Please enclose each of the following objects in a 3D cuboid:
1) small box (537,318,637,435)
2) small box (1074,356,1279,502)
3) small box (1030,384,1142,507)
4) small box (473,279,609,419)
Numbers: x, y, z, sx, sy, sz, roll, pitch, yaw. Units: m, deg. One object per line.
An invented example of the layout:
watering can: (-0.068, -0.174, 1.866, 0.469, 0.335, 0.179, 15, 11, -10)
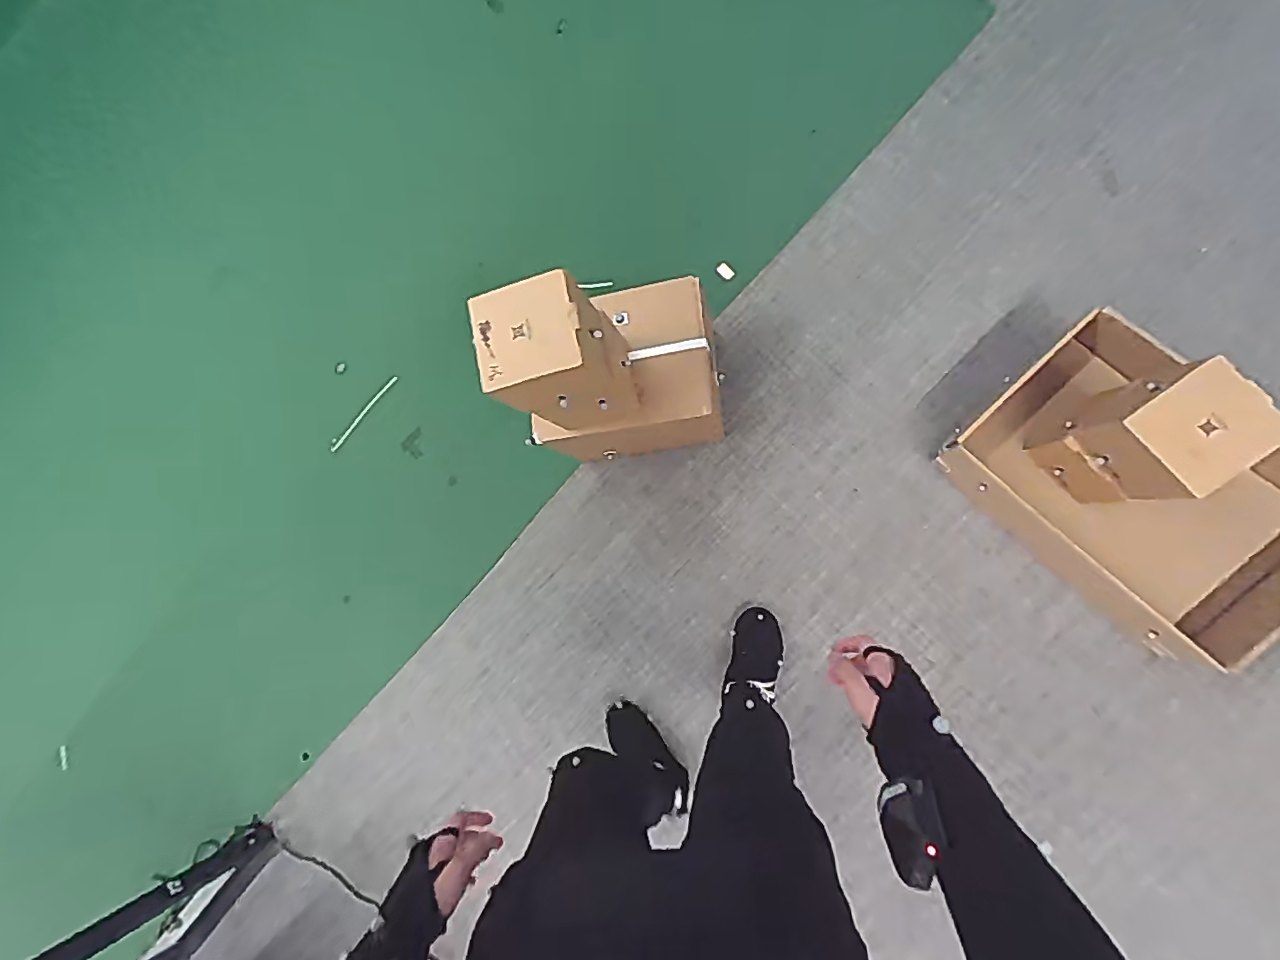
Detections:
small box: (-0.113, -0.202, 1.101, 0.179, 0.176, 0.168, -15, 80, 12)
small box: (0.917, -0.078, 0.931, 0.179, 0.176, 0.168, -39, 79, 8)
small box: (0.948, -0.063, 1.090, 0.179, 0.176, 0.168, -43, 79, 7)
small box: (-0.162, -0.217, 0.945, 0.179, 0.176, 0.168, -13, 81, 11)
